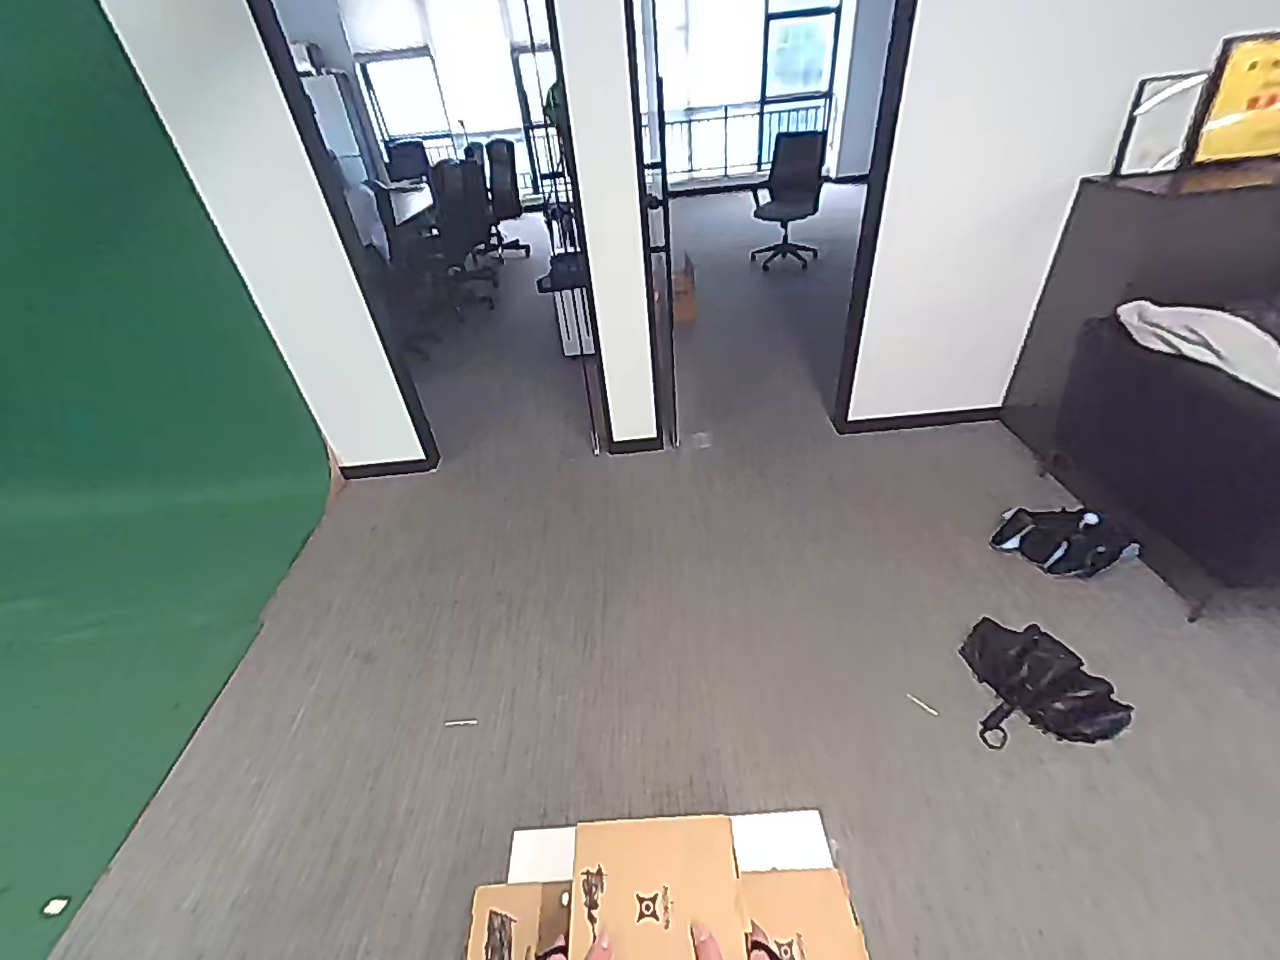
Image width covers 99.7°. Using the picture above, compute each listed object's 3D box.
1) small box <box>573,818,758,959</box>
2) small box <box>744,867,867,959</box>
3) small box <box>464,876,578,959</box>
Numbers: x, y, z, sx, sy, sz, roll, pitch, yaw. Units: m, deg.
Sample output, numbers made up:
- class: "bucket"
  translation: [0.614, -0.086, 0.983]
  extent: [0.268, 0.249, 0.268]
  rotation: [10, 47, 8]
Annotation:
- class: "small box"
  translation: [0.025, 0.490, 0.585]
  extent: [0.179, 0.176, 0.168]
  rotation: [-3, 37, 0]
- class: "small box"
  translation: [0.180, 0.612, 0.679]
  extent: [0.179, 0.176, 0.168]
  rotation: [-4, 37, 2]
- class: "small box"
  translation: [-0.119, 0.627, 0.682]
  extent: [0.179, 0.176, 0.168]
  rotation: [-2, 38, -1]
